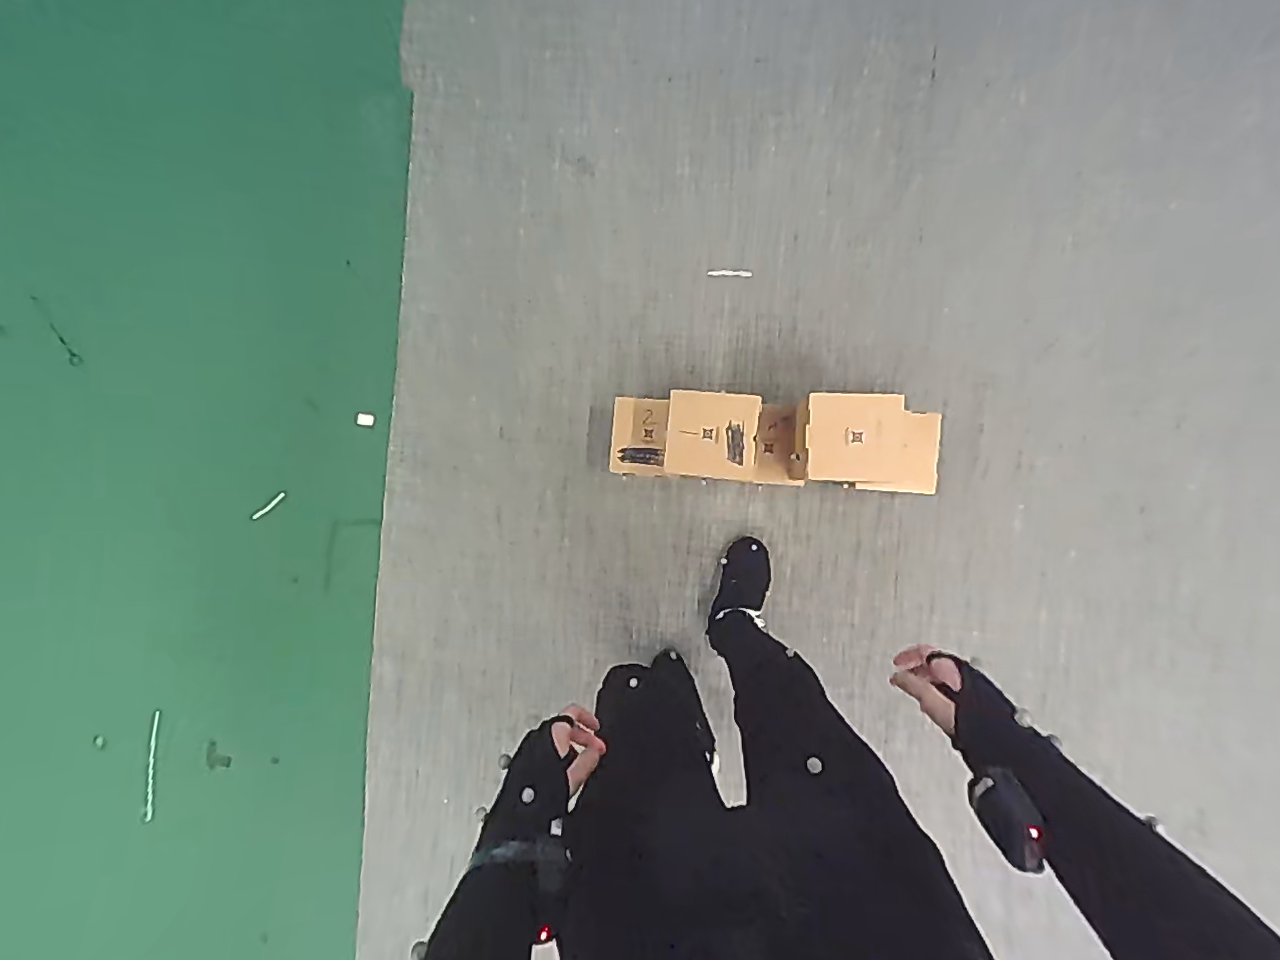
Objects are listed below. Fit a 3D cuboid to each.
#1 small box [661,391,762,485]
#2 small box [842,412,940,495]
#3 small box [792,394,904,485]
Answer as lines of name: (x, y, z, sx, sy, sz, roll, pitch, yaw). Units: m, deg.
small box: (0.147, -0.080, 1.113, 0.179, 0.176, 0.168, 7, 88, 9)
small box: (0.560, -0.059, 1.233, 0.168, 0.176, 0.179, 4, 89, 7)
small box: (0.407, -0.076, 1.086, 0.179, 0.176, 0.168, 2, 90, 5)
